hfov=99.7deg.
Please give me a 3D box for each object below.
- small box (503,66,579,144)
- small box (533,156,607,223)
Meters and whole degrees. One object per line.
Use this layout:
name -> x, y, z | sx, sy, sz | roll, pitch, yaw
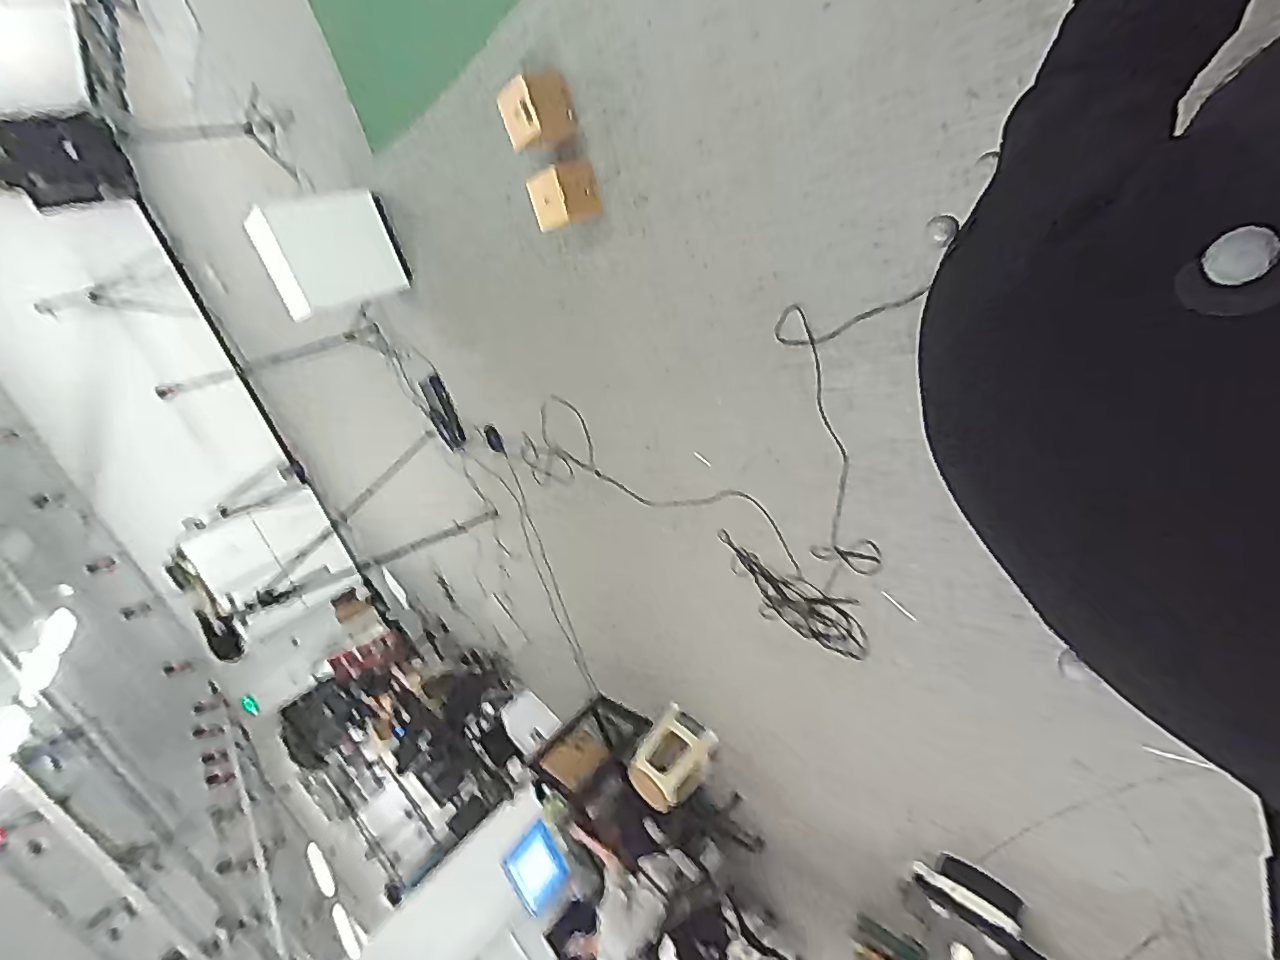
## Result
small box -> -0.327, -1.273, 1.833 | 0.179, 0.176, 0.168 | 3, 119, 49
small box -> -0.246, -1.034, 1.926 | 0.179, 0.176, 0.168 | 7, 121, 47
